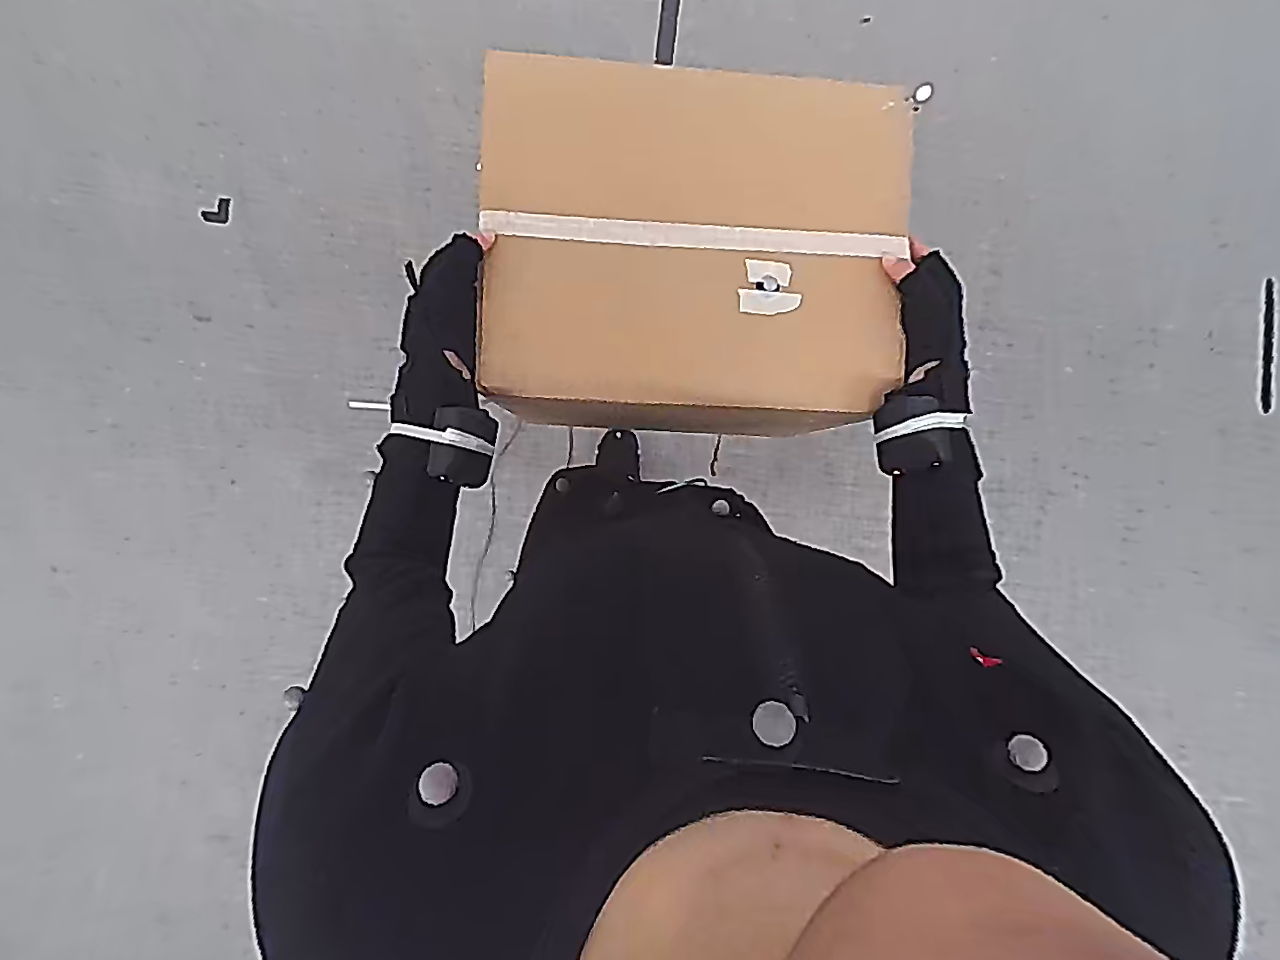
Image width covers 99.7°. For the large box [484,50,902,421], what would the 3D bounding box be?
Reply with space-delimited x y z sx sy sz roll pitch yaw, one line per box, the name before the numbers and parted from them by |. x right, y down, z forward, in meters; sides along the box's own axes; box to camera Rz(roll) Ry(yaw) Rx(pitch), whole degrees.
large box | 0.043 -0.245 0.666 0.408 0.320 0.320 3 92 -4
